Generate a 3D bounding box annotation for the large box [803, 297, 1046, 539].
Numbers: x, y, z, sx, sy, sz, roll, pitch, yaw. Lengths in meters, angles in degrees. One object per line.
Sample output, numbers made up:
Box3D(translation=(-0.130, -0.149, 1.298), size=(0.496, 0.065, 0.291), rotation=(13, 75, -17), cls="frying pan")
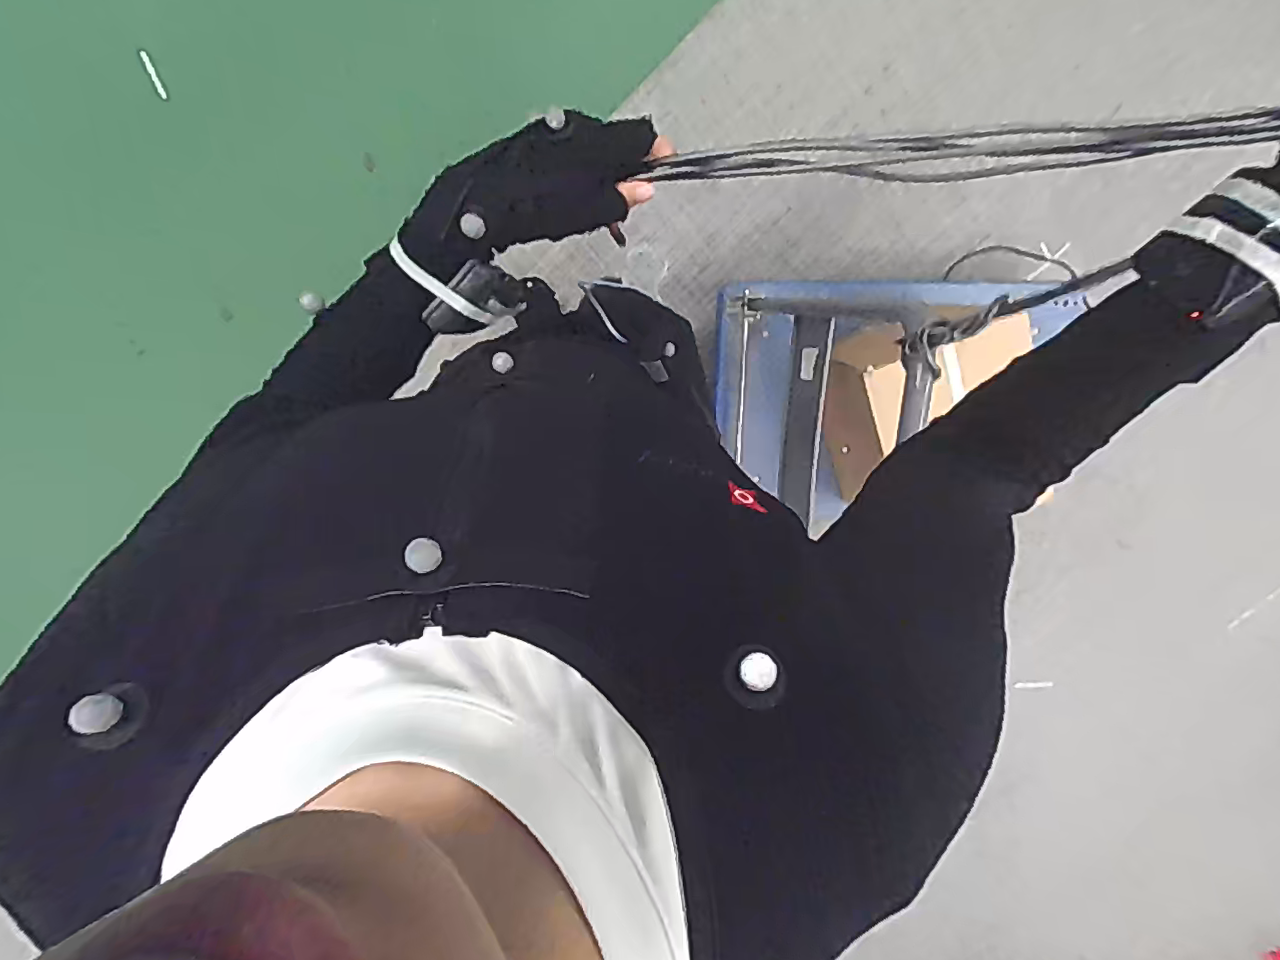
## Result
Box3D(translation=(0.603, -0.148, 1.186), size=(0.320, 0.320, 0.408), rotation=(-22, 109, 3), cls="large box")
